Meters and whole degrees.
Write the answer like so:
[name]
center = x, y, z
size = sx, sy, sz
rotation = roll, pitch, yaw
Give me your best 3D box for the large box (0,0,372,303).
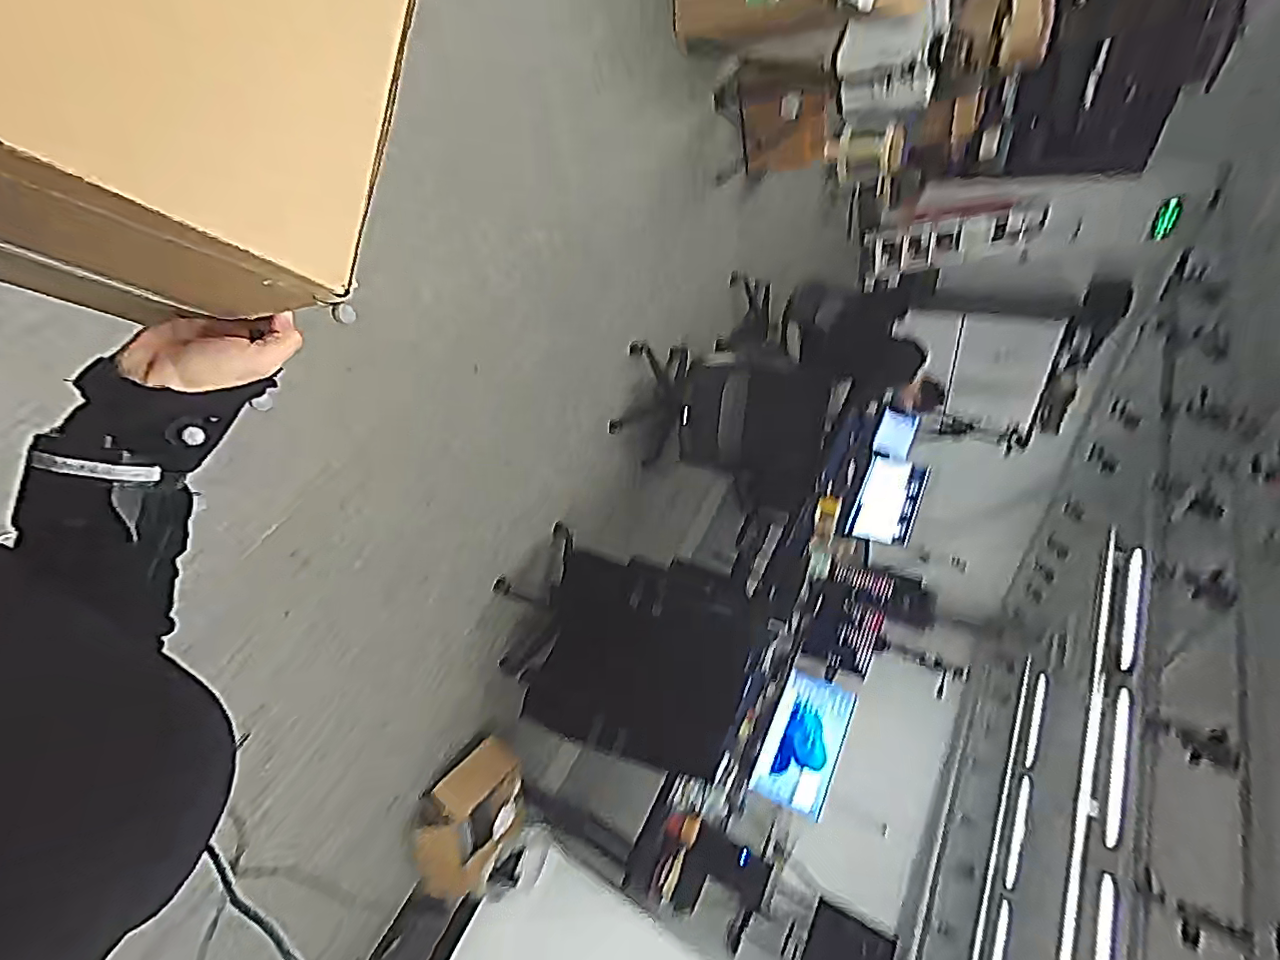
[large box]
center = -0.373, -0.302, 0.208
size = 0.408, 0.320, 0.320
rotation = 12, 88, -55
